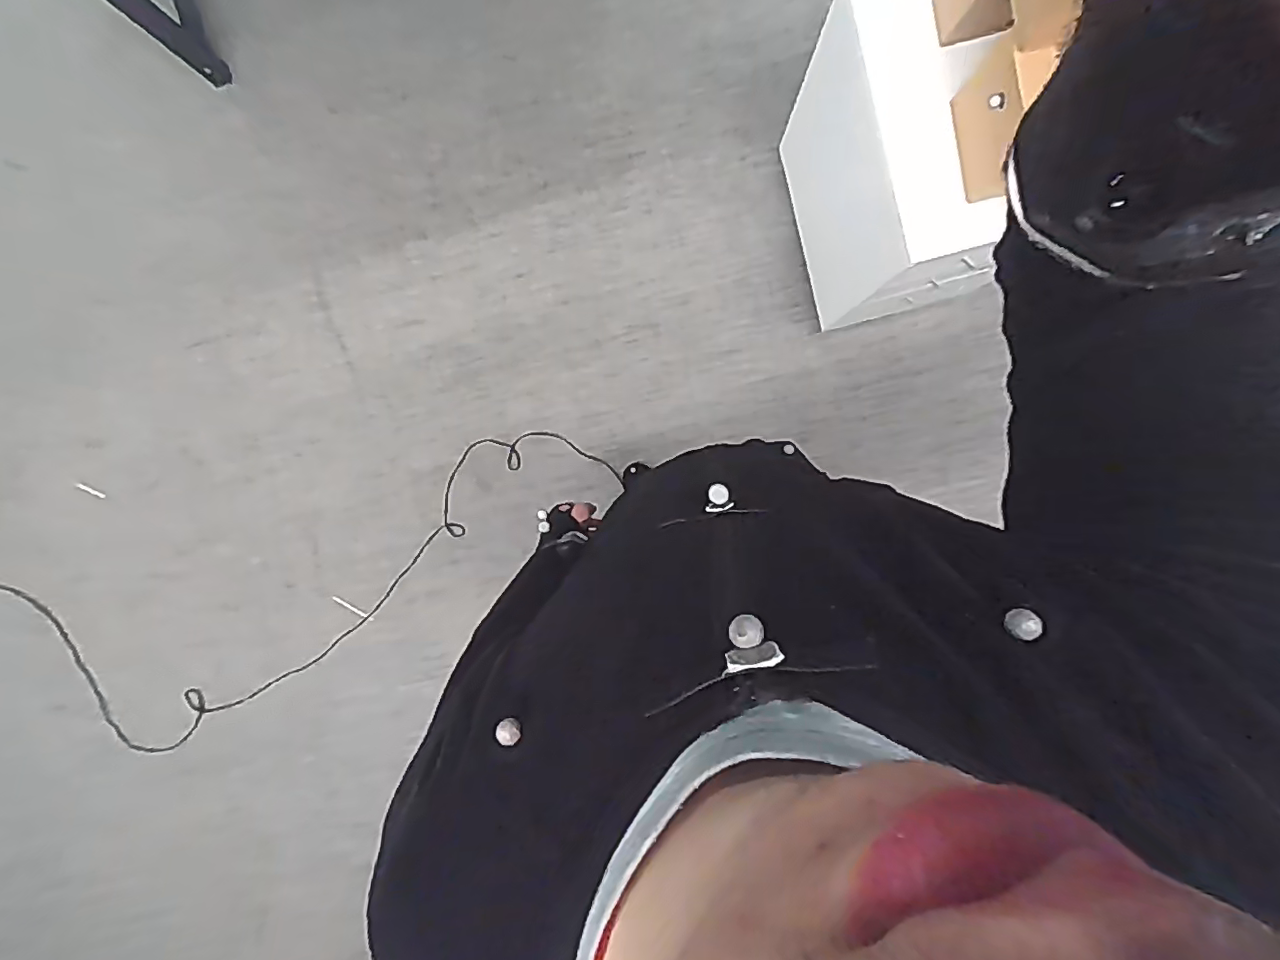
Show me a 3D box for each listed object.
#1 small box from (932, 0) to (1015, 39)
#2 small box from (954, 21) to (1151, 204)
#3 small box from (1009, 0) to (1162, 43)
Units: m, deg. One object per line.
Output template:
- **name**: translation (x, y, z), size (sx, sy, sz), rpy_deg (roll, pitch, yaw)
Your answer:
- **small box**: translation (0.556, -0.811, 0.808), size (0.168, 0.176, 0.179), rpy_deg (-14, 95, 4)
- **small box**: translation (0.608, -0.556, 0.820), size (0.168, 0.176, 0.179), rpy_deg (-11, 93, 4)
- **small box**: translation (0.576, -0.678, 0.653), size (0.168, 0.176, 0.179), rpy_deg (-12, 92, 3)
